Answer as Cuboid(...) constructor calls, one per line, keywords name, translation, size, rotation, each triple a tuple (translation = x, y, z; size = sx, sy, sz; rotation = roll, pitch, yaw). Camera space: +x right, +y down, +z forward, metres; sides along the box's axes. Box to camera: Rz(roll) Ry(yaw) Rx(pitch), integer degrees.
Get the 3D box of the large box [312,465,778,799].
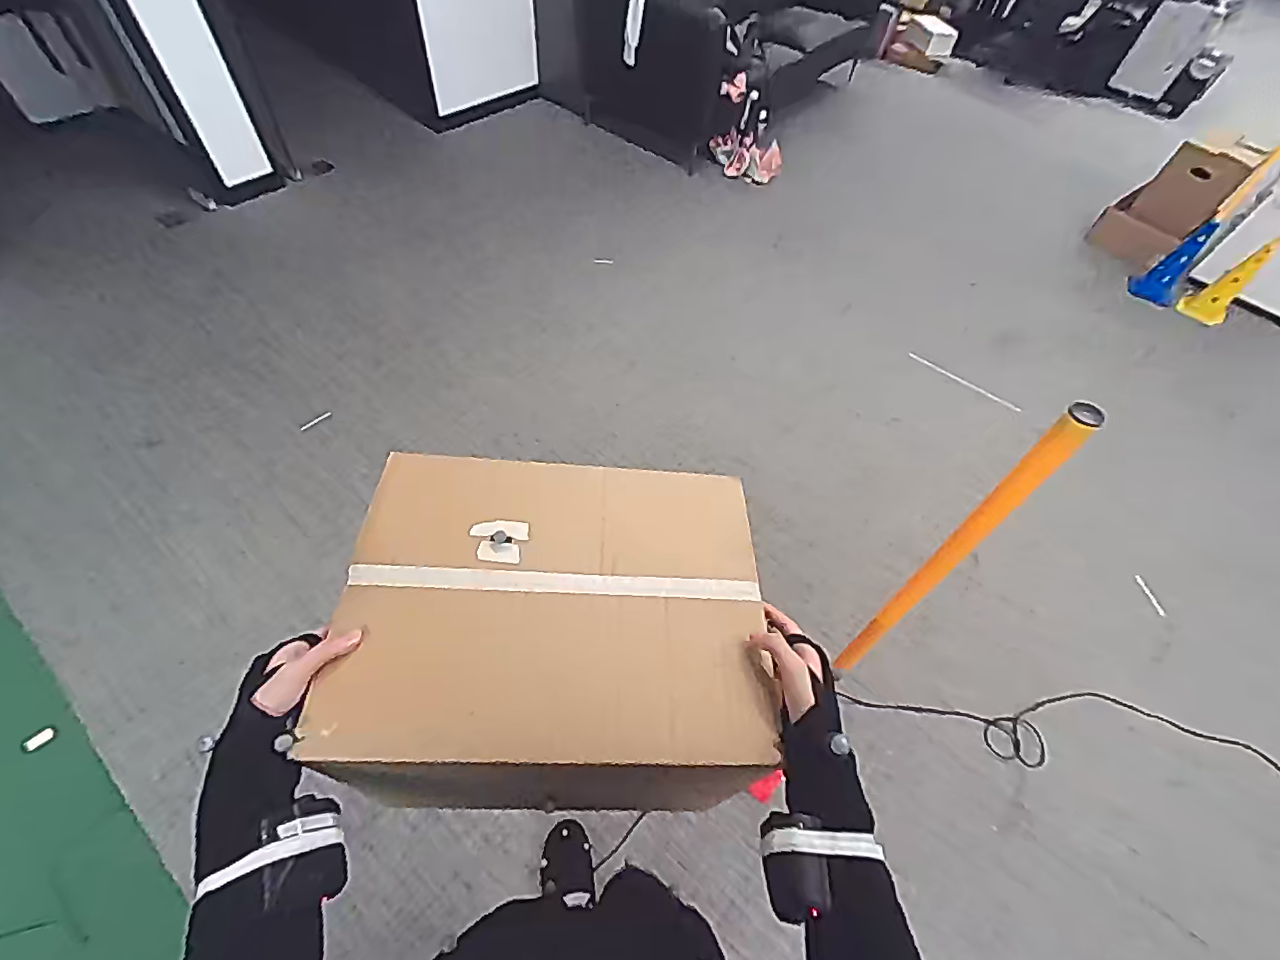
Cuboid(name="large box", translation=(-0.090, 0.202, 0.667), size=(0.408, 0.320, 0.320), rotation=(4, 53, -6))
